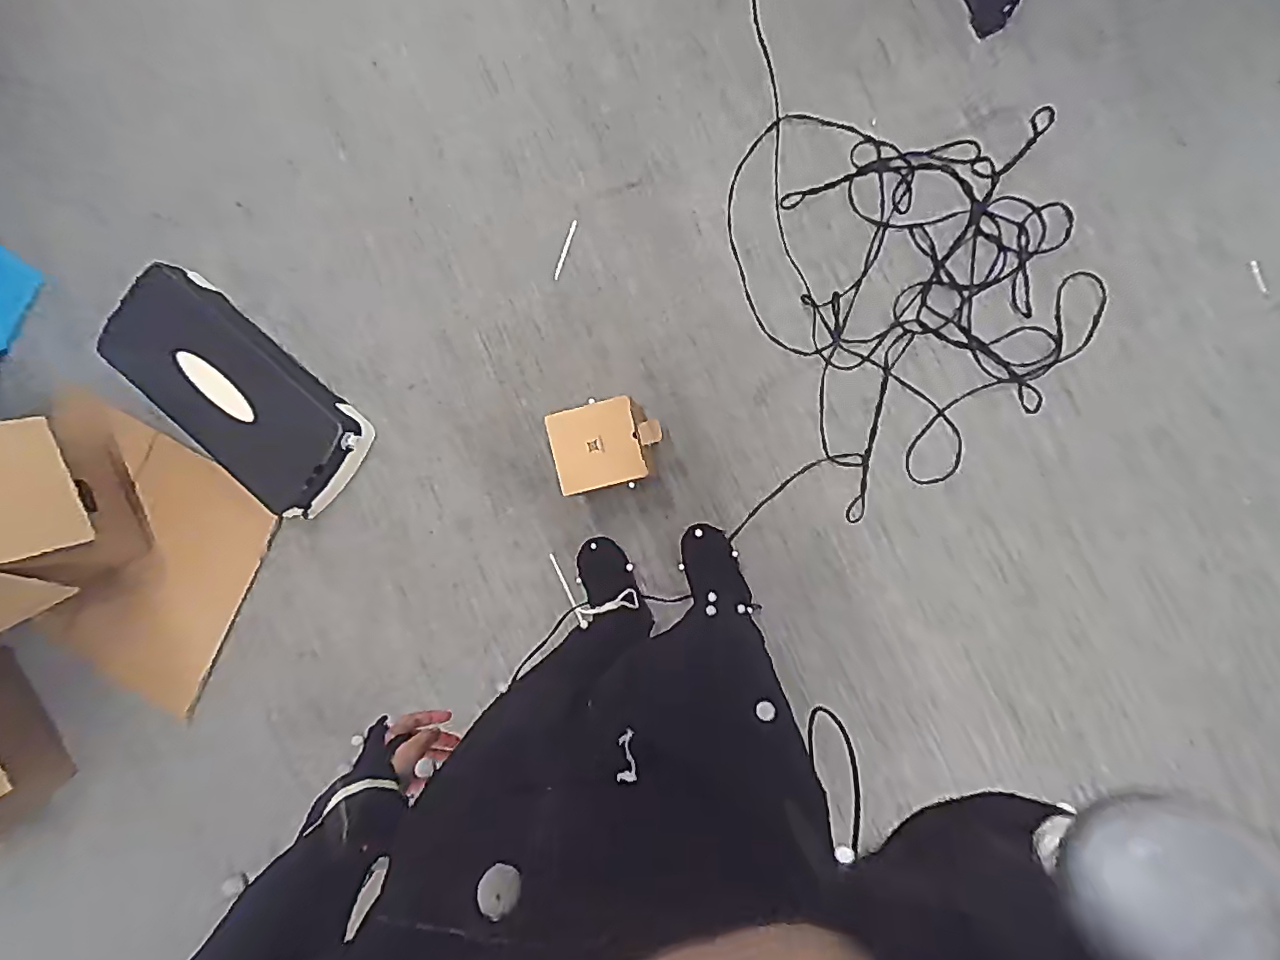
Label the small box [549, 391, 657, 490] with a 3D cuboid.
[{"bbox_3d":[-0.070,-0.074,1.134,0.179,0.176,0.168,-14,88,6],"label":"small box"}]
